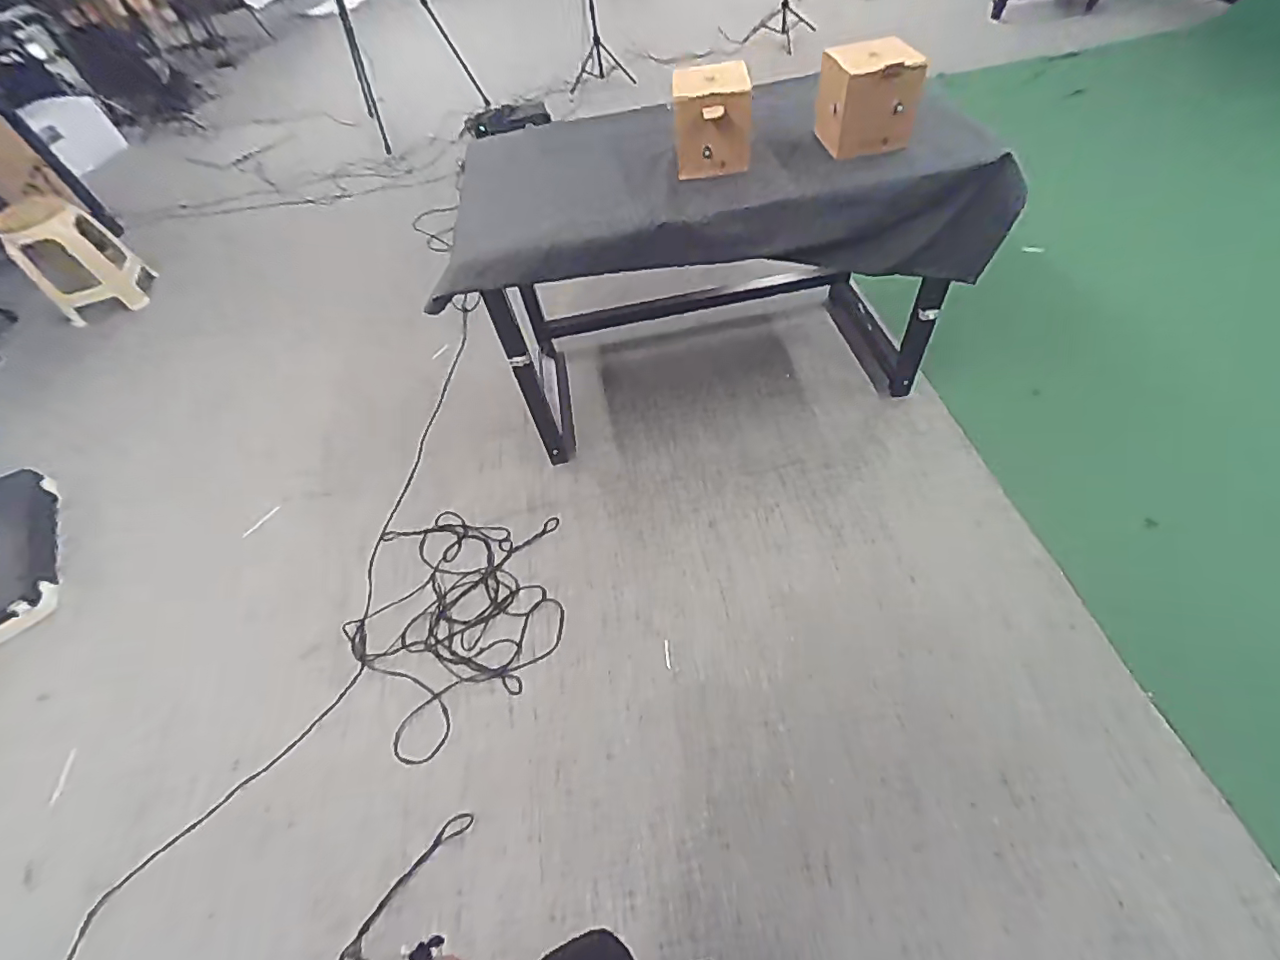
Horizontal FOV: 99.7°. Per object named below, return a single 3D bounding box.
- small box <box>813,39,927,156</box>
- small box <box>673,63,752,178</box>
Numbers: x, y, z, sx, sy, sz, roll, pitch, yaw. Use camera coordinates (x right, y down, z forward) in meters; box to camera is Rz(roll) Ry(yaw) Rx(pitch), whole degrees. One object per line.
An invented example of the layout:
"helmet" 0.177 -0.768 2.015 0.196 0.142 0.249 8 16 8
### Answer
"small box" 0.499 -0.842 1.203 0.168 0.176 0.179 -9 51 0
"small box" 0.161 -0.818 1.235 0.168 0.176 0.179 -3 53 6
